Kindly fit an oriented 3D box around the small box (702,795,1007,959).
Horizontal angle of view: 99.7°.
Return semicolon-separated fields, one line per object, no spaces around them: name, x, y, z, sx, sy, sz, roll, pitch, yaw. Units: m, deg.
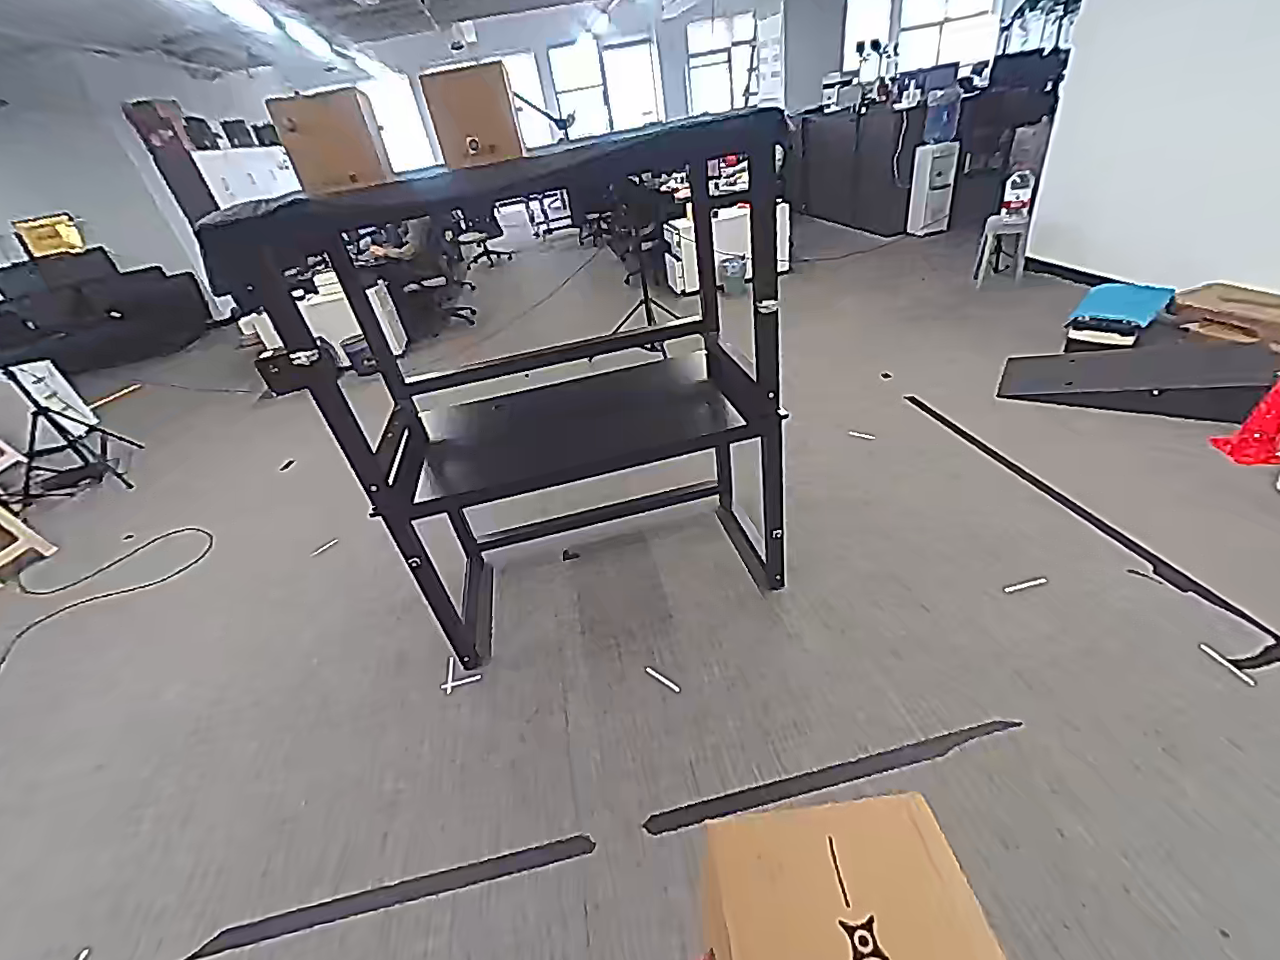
small box;0.140;0.353;0.372;0.168;0.176;0.179;-5;36;-4

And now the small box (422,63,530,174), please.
small box;-0.338;-0.762;1.152;0.168;0.176;0.179;-13;33;-2
